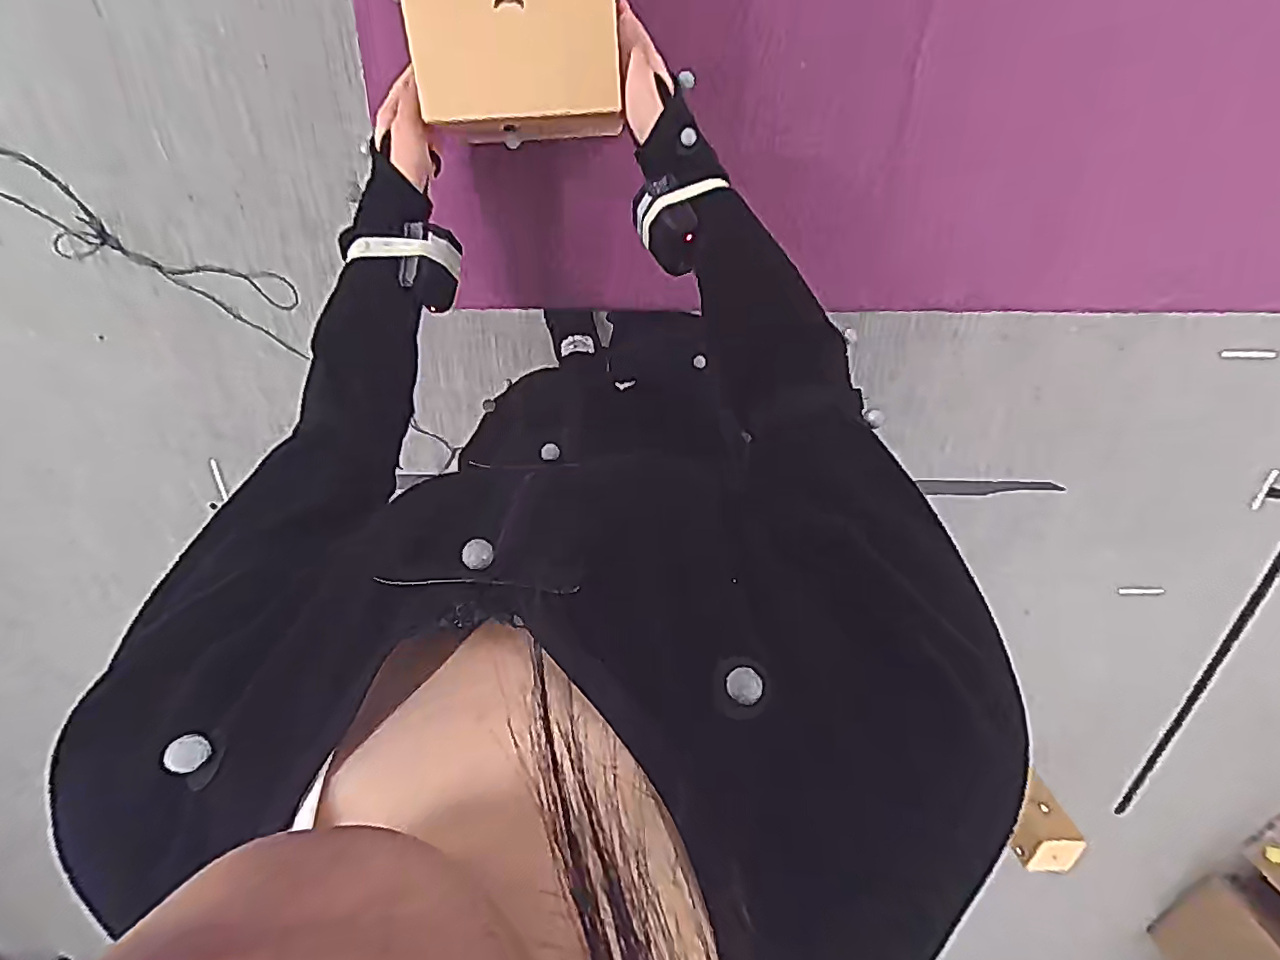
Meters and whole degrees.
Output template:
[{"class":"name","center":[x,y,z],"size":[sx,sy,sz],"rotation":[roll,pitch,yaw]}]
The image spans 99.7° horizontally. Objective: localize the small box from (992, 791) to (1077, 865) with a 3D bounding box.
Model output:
[{"class":"small box","center":[1.459,1.297,2.015],"size":[0.168,0.176,0.179],"rotation":[3,116,-4]}]

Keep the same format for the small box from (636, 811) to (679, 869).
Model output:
[{"class":"small box","center":[0.072,1.514,2.263],"size":[0.168,0.176,0.179],"rotation":[-4,118,1]}]

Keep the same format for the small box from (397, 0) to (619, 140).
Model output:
[{"class":"small box","center":[-0.106,-0.411,0.479],"size":[0.168,0.176,0.179],"rotation":[-3,116,0]}]

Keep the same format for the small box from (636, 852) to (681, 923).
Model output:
[{"class":"small box","center":[0.072,1.587,2.115],"size":[0.168,0.176,0.179],"rotation":[-3,117,0]}]
